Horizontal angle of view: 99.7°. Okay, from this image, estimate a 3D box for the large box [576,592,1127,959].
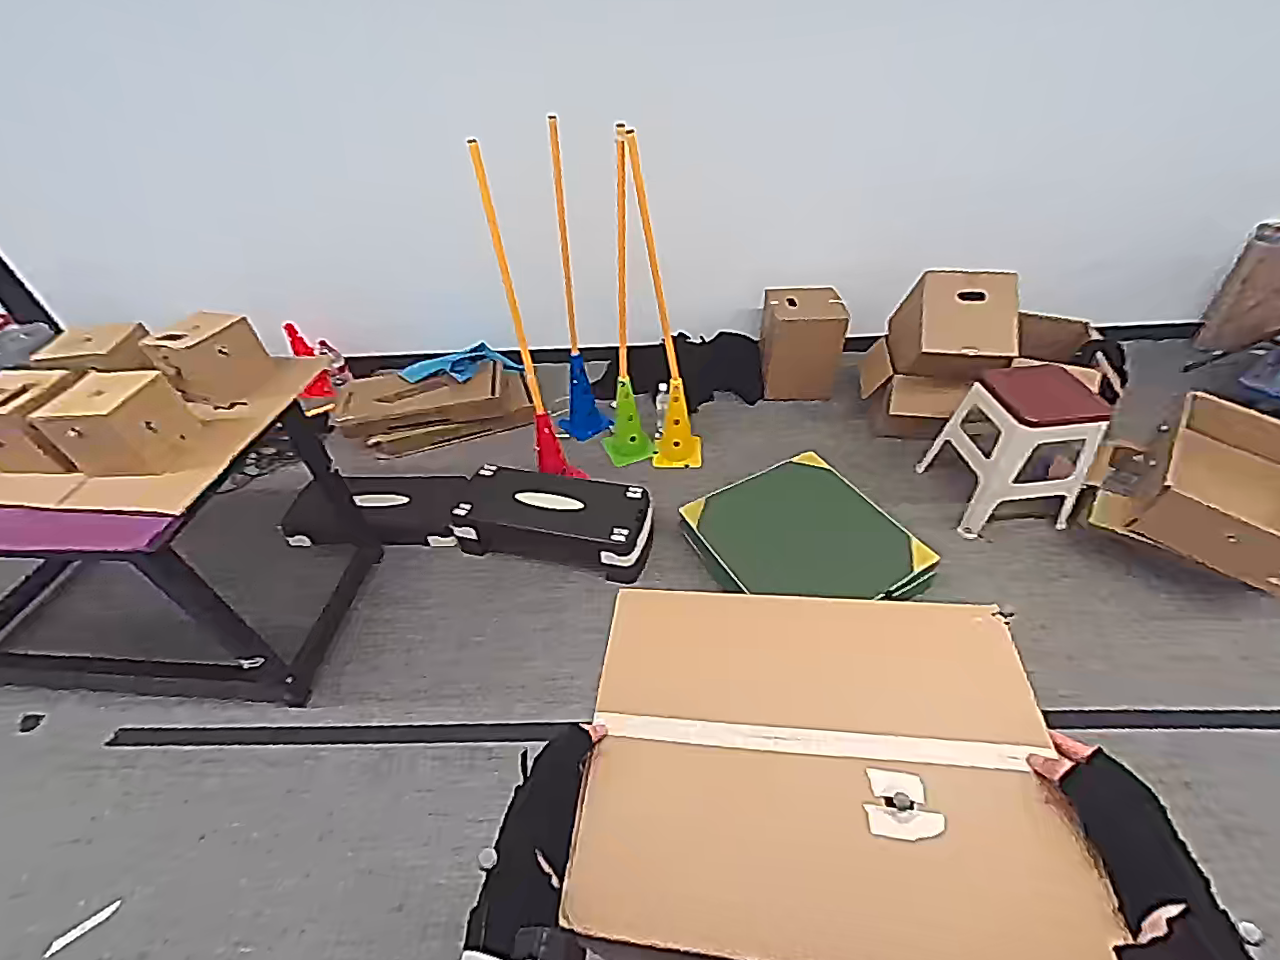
[{"bbox_3d":[0.173,0.348,0.604,0.408,0.320,0.320,1,45,10],"label":"large box"}]
